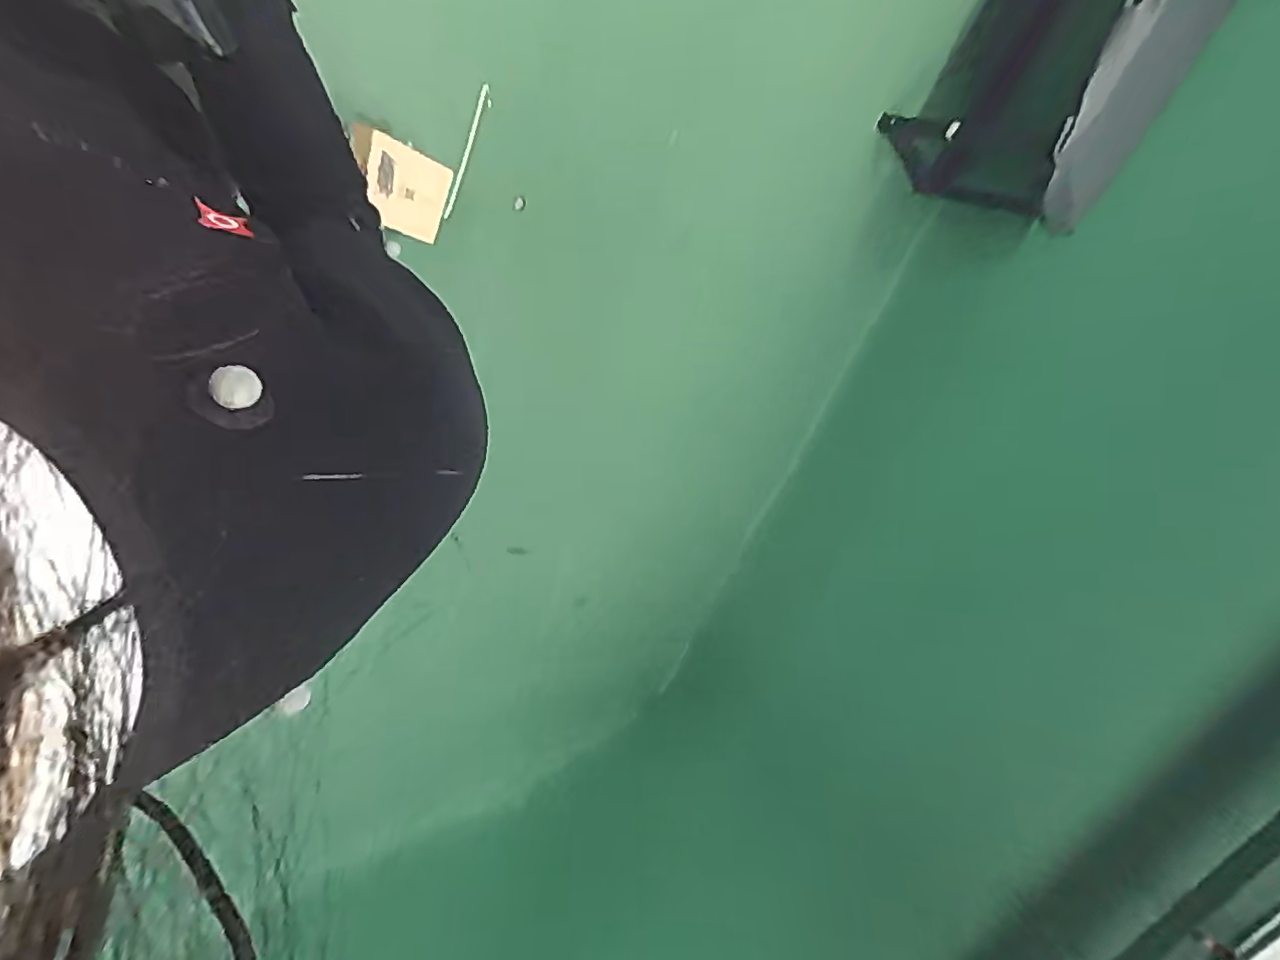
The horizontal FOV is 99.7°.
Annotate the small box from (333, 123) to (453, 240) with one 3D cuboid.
[{"bbox_3d":[-0.553,-0.664,1.201,0.179,0.176,0.168,5,117,-49],"label":"small box"}]
